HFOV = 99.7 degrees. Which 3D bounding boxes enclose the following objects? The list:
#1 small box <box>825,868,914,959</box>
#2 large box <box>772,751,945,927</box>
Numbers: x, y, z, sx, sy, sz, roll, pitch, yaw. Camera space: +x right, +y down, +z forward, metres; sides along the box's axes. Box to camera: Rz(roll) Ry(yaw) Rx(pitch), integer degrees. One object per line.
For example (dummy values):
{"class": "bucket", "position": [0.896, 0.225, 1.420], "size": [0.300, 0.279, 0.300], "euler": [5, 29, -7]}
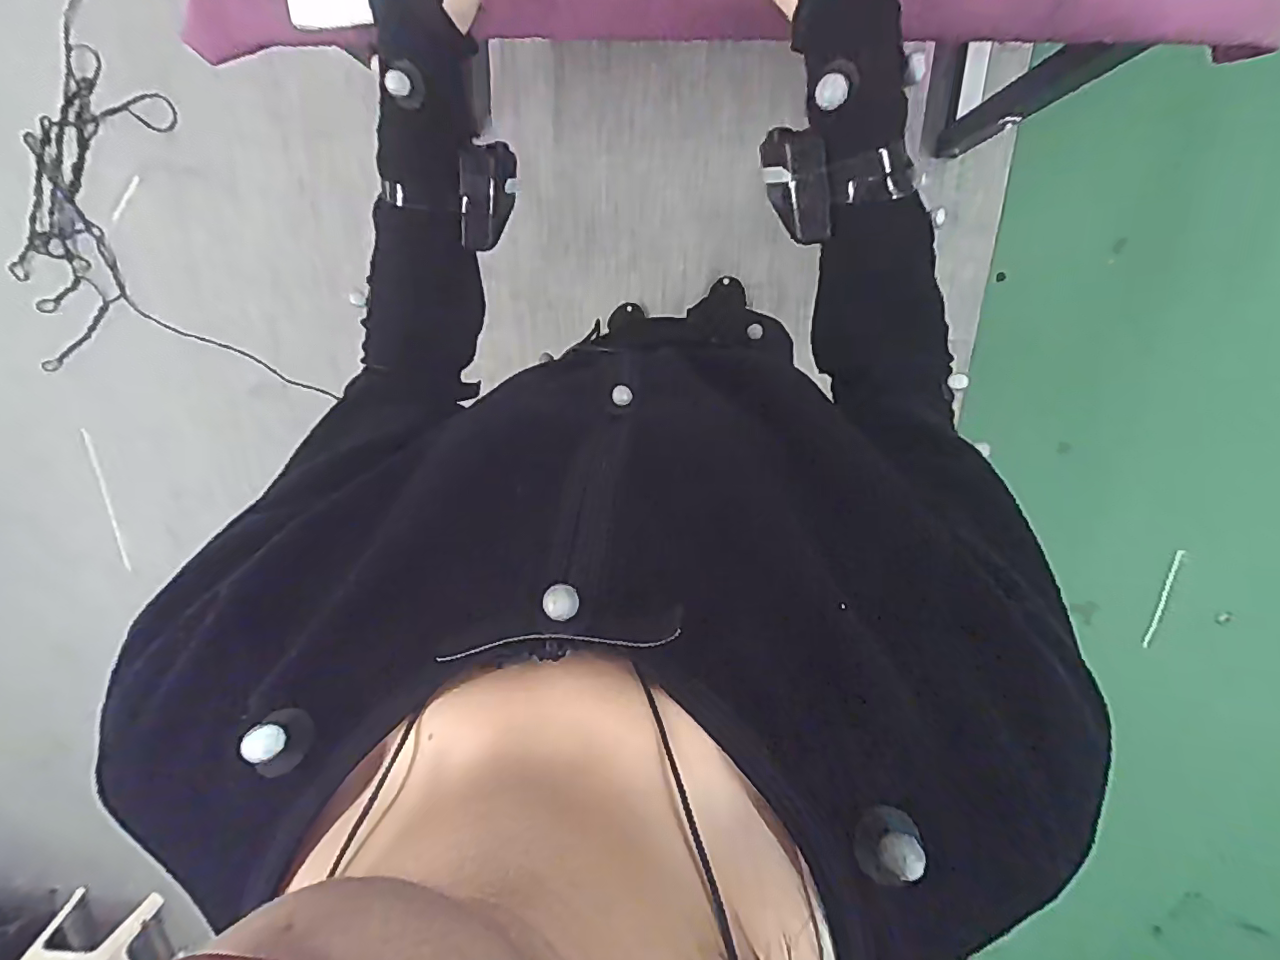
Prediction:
{"class": "small box", "position": [0.607, 1.171, 1.439], "size": [0.179, 0.176, 0.168], "euler": [-8, 104, 8]}
{"class": "large box", "position": [0.653, 1.094, 1.670], "size": [0.408, 0.320, 0.320], "euler": [-11, 107, 7]}
